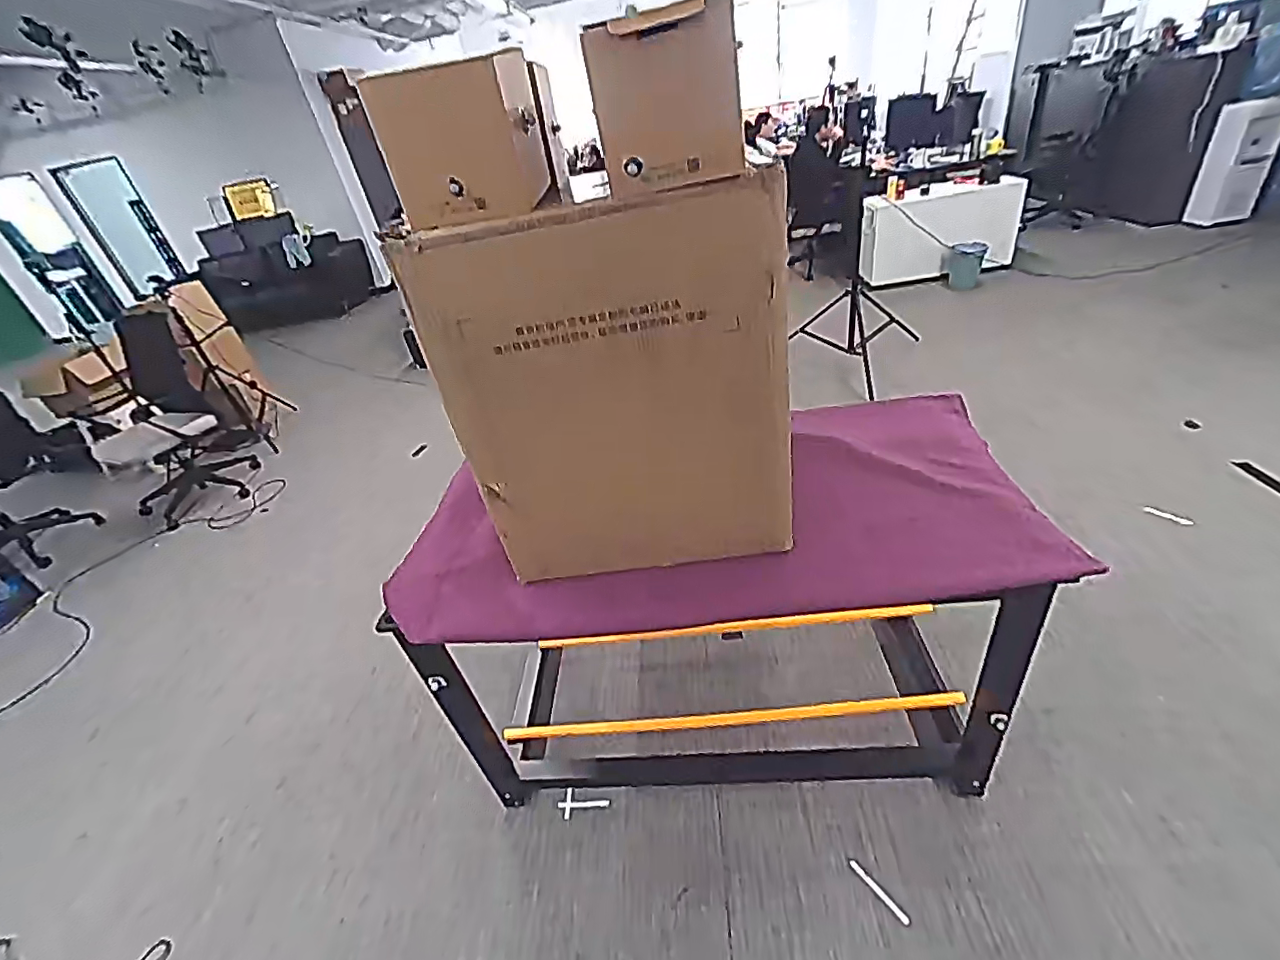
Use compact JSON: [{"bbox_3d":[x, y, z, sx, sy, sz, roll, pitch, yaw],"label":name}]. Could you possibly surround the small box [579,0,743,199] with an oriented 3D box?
[{"bbox_3d":[0.032,-0.463,0.671,0.168,0.176,0.179,-7,36,7],"label":"small box"}]
